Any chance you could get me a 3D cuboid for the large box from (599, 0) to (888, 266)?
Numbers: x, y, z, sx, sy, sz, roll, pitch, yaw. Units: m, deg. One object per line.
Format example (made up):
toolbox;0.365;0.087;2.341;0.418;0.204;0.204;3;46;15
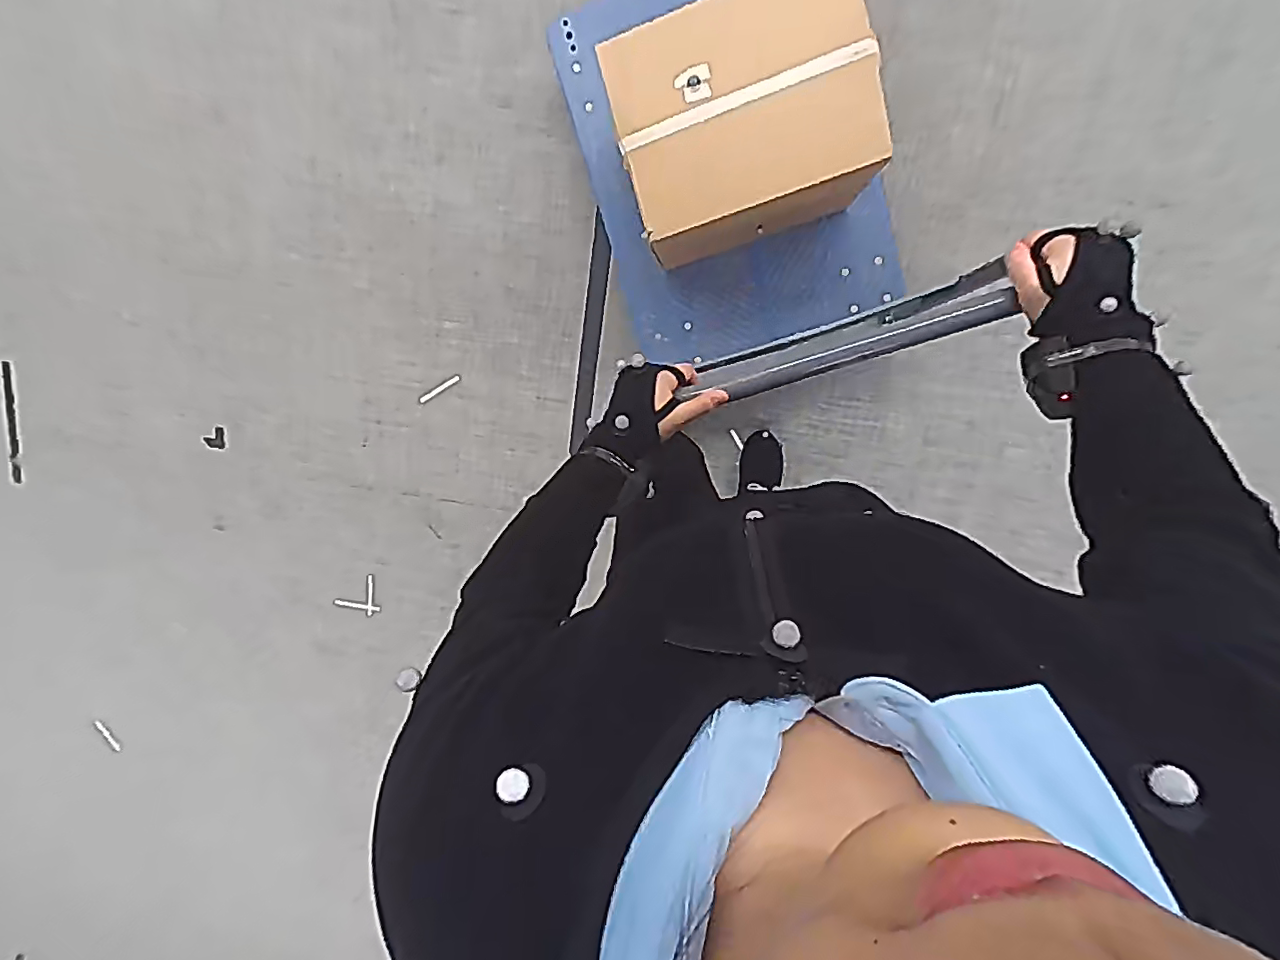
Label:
large box;0.185;-0.641;1.014;0.408;0.320;0.320;-16;99;12
